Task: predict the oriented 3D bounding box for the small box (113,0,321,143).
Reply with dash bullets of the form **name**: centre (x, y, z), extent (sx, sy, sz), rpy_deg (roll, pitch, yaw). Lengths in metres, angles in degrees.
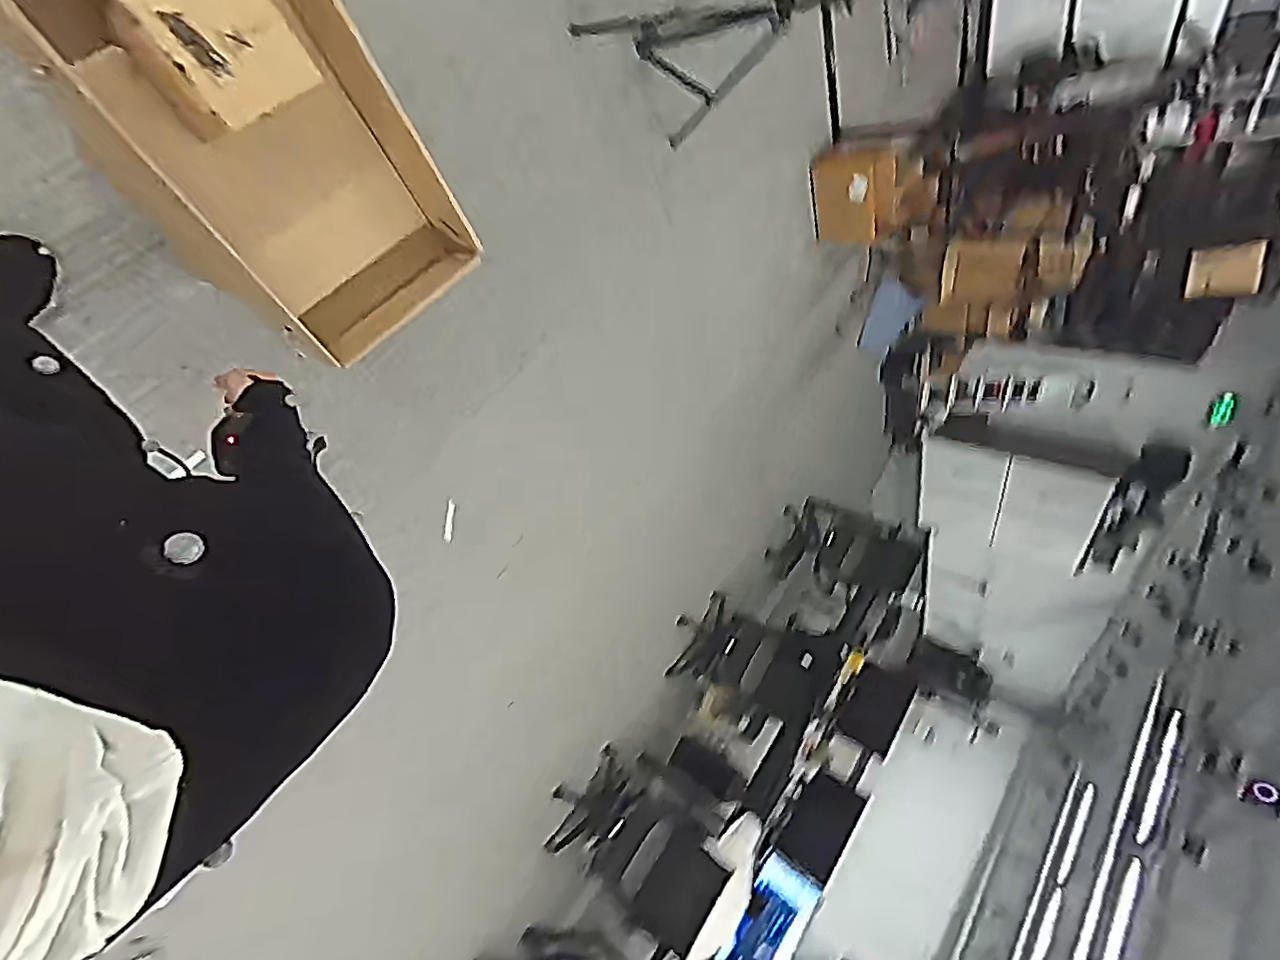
- **small box**: centre (-0.636, -0.638, 0.814), extent (0.179, 0.176, 0.168), rpy_deg (-52, 139, -22)
